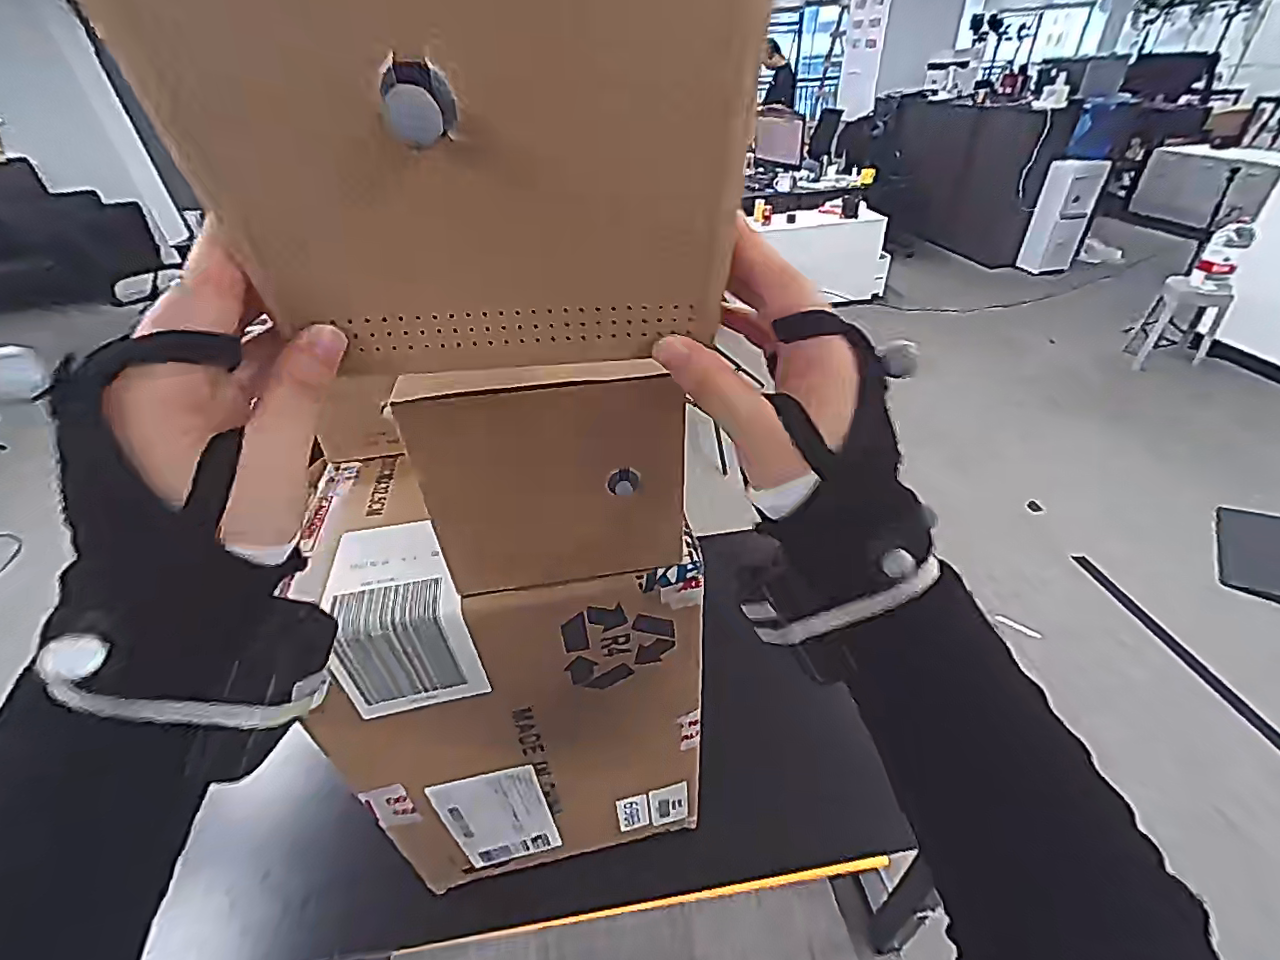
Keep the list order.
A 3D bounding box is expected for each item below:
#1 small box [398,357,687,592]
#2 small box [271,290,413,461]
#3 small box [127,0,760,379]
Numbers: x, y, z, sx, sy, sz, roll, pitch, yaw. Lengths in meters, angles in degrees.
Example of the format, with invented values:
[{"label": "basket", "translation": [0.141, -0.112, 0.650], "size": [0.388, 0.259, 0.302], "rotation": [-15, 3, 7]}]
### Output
[{"label": "small box", "translation": [-0.066, -0.034, 0.434], "size": [0.179, 0.176, 0.168], "rotation": [-8, 37, -6]}, {"label": "small box", "translation": [-0.251, -0.141, 0.582], "size": [0.168, 0.176, 0.179], "rotation": [-9, 37, -10]}, {"label": "small box", "translation": [-0.058, -0.157, 0.219], "size": [0.179, 0.176, 0.168], "rotation": [-6, 54, -6]}]
